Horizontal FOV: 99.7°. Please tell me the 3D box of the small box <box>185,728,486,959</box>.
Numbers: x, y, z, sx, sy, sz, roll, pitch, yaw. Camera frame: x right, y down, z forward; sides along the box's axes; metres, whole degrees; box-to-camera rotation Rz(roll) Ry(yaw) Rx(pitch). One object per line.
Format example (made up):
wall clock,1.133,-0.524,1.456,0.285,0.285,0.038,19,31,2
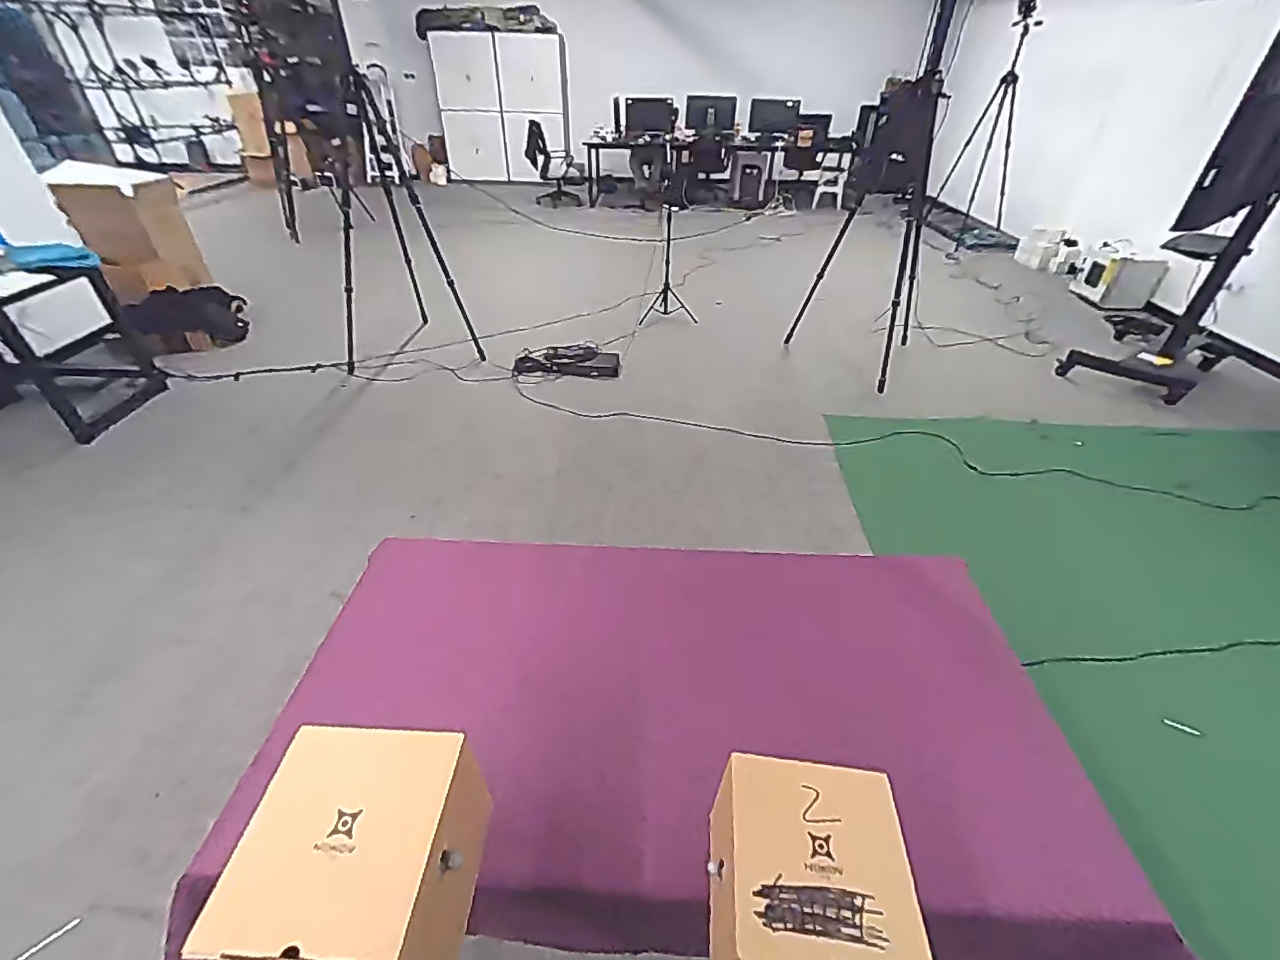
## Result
small box,-0.254,0.364,0.511,0.168,0.176,0.179,3,40,2
